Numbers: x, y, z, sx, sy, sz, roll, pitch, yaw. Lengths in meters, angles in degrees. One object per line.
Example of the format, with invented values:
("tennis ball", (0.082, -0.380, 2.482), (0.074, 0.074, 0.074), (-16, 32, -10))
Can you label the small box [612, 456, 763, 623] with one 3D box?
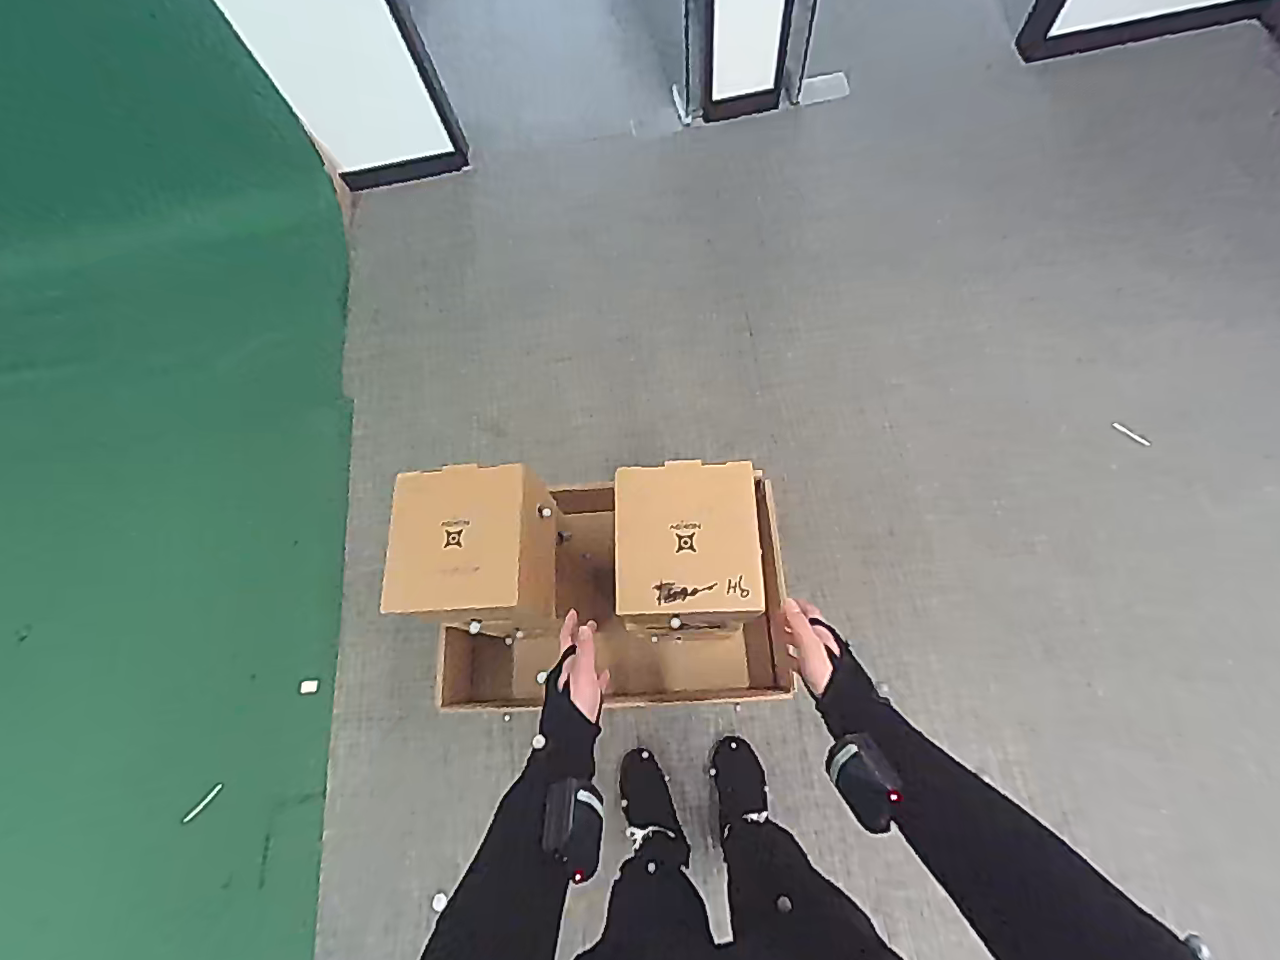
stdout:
("small box", (0.057, 0.082, 0.684), (0.168, 0.176, 0.179), (-3, 71, 5))

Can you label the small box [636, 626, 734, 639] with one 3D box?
("small box", (0.079, 0.196, 0.992), (0.168, 0.176, 0.179), (-3, 71, 5))

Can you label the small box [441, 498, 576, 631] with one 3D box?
("small box", (-0.201, 0.141, 0.864), (0.168, 0.176, 0.179), (-5, 70, 5))

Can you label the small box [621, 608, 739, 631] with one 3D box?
("small box", (0.063, 0.142, 0.837), (0.168, 0.176, 0.179), (-3, 70, 5))

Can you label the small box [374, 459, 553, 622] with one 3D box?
("small box", (-0.216, 0.087, 0.710), (0.168, 0.176, 0.179), (-4, 70, 6))
